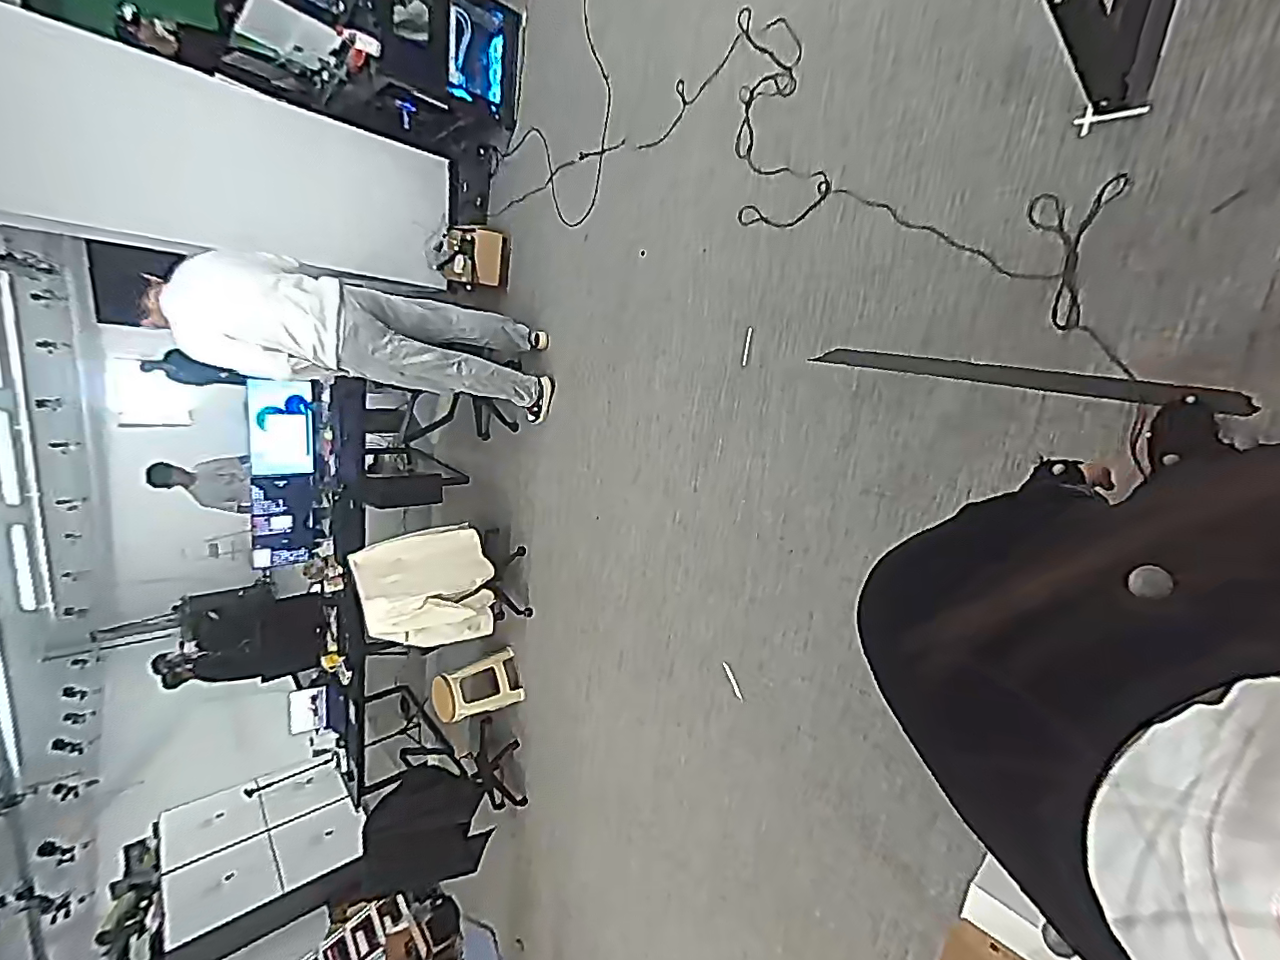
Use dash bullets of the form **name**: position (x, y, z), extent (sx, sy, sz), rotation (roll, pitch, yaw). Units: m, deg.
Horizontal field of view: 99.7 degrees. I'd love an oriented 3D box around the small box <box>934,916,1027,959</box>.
- **small box**: position (0.605, 0.940, 0.949), extent (0.168, 0.176, 0.179), rotation (16, 107, 44)
